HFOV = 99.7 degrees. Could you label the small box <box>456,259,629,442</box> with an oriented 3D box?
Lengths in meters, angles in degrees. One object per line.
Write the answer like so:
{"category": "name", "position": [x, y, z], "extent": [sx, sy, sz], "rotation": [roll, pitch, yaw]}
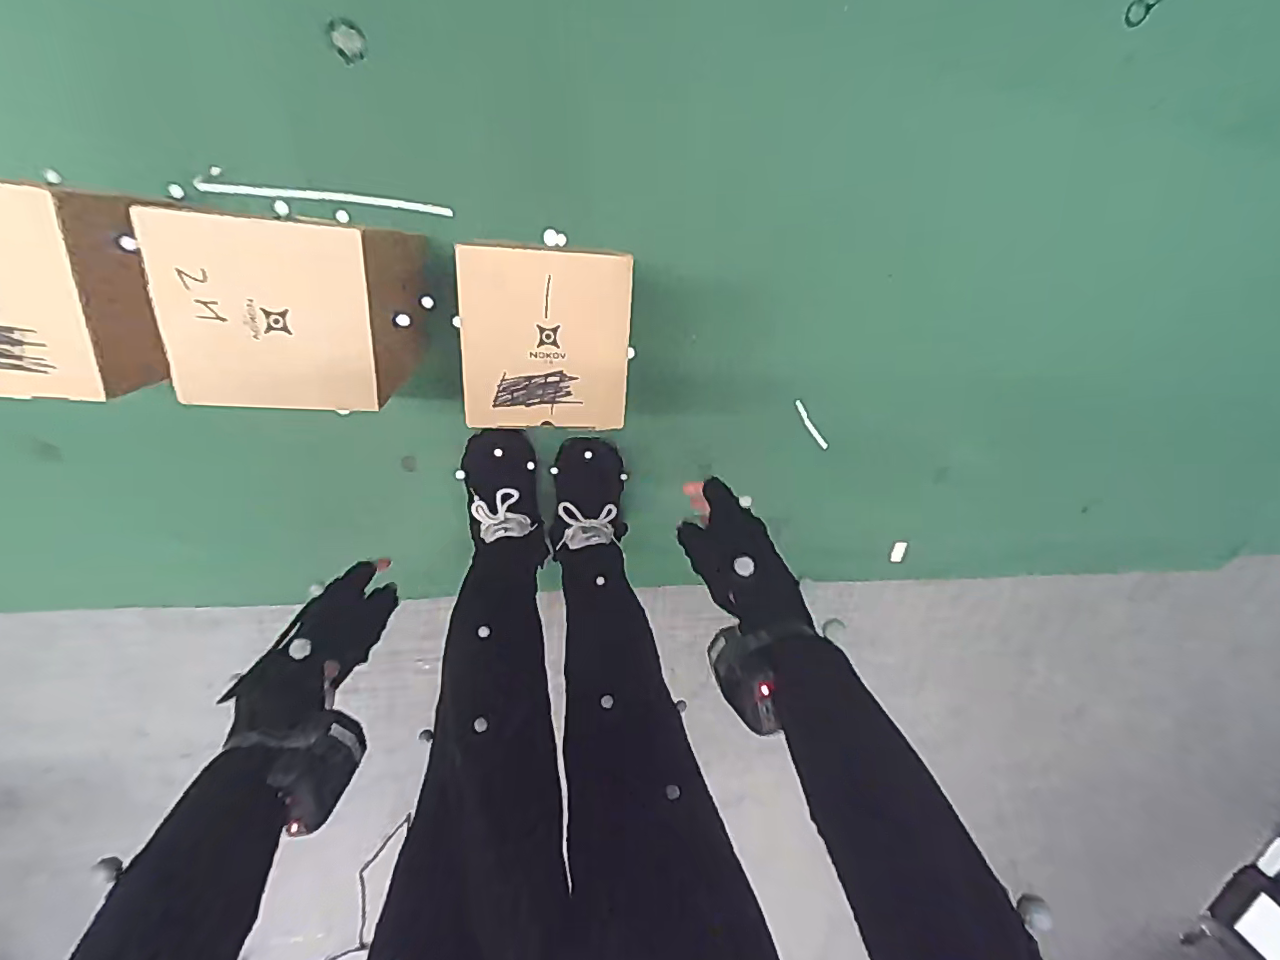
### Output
{"category": "small box", "position": [-0.109, -0.152, 0.618], "extent": [0.168, 0.176, 0.179], "rotation": [-1, 113, -11]}
